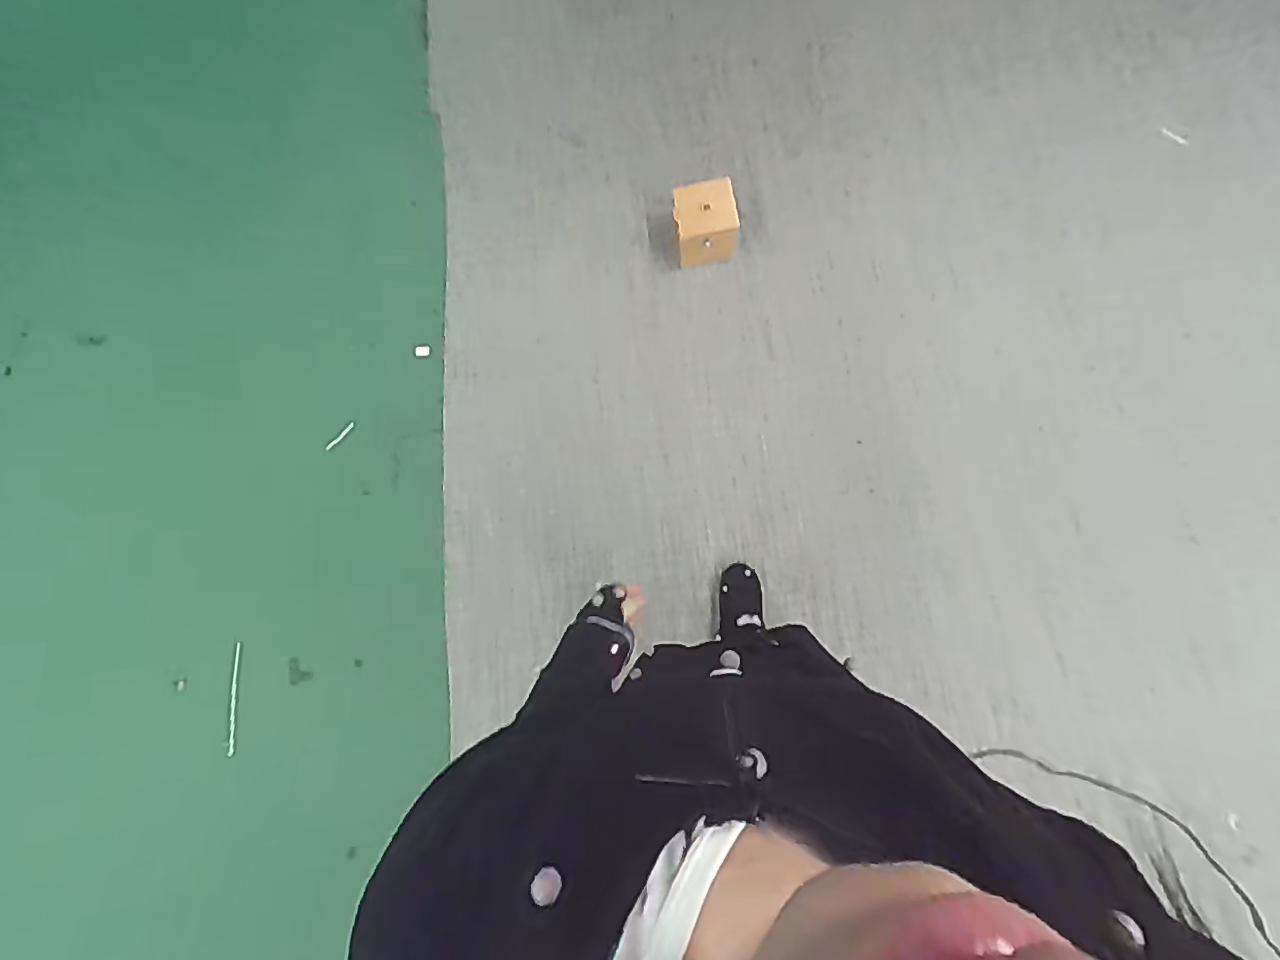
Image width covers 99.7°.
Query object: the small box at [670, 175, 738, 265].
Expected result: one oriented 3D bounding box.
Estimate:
[{"bbox_3d":[0.189,-0.776,1.628,0.179,0.176,0.168,-9,79,5],"label":"small box"}]
